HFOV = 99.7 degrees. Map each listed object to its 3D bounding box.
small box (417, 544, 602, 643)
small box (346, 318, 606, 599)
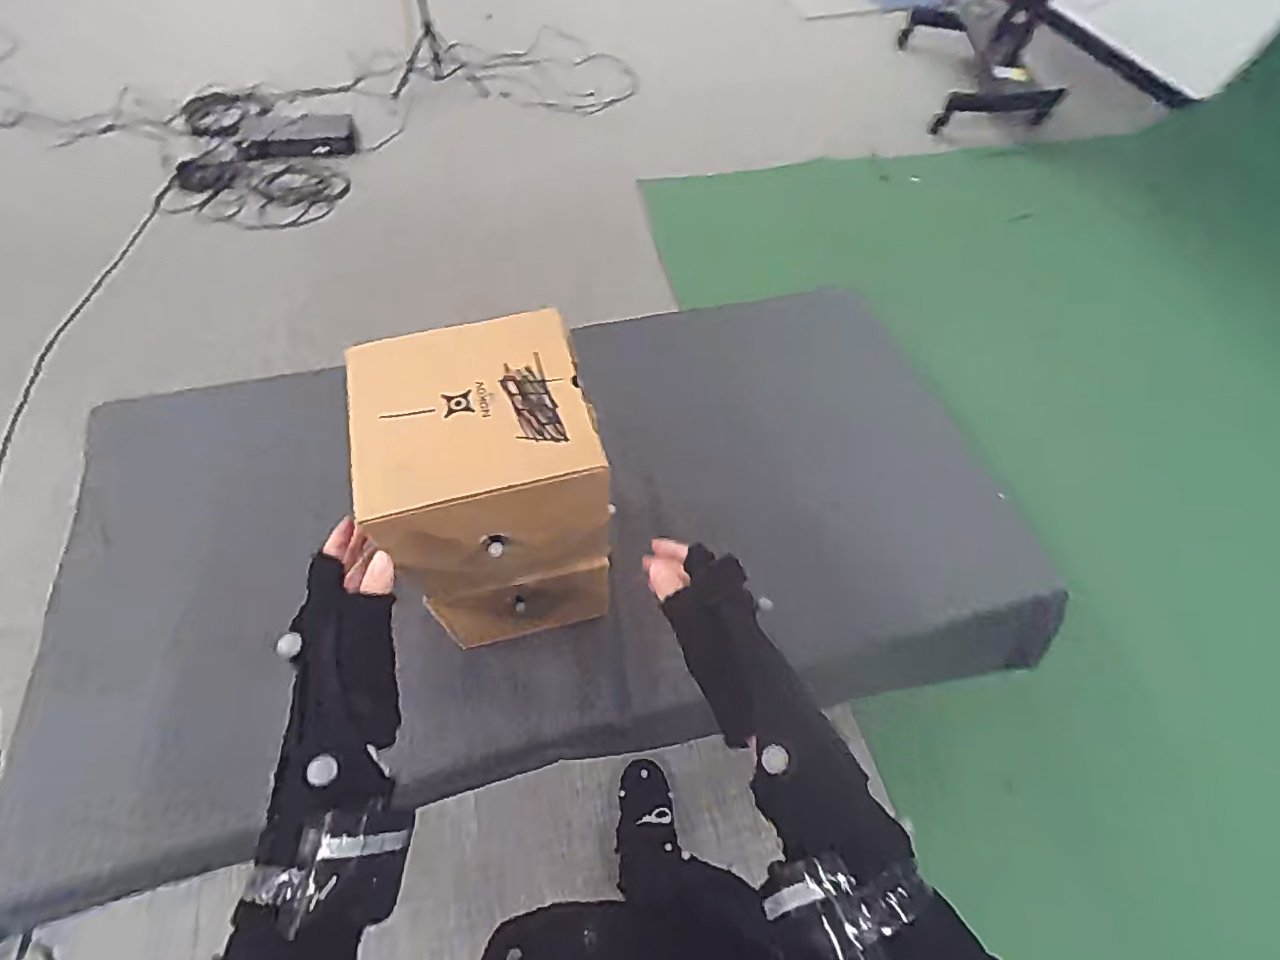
[{"bbox_3d":[-0.144,0.074,0.619,0.179,0.176,0.168,-11,61,-10],"label":"small box"},{"bbox_3d":[-0.134,-0.012,0.481,0.179,0.176,0.168,-14,62,-10],"label":"small box"}]
